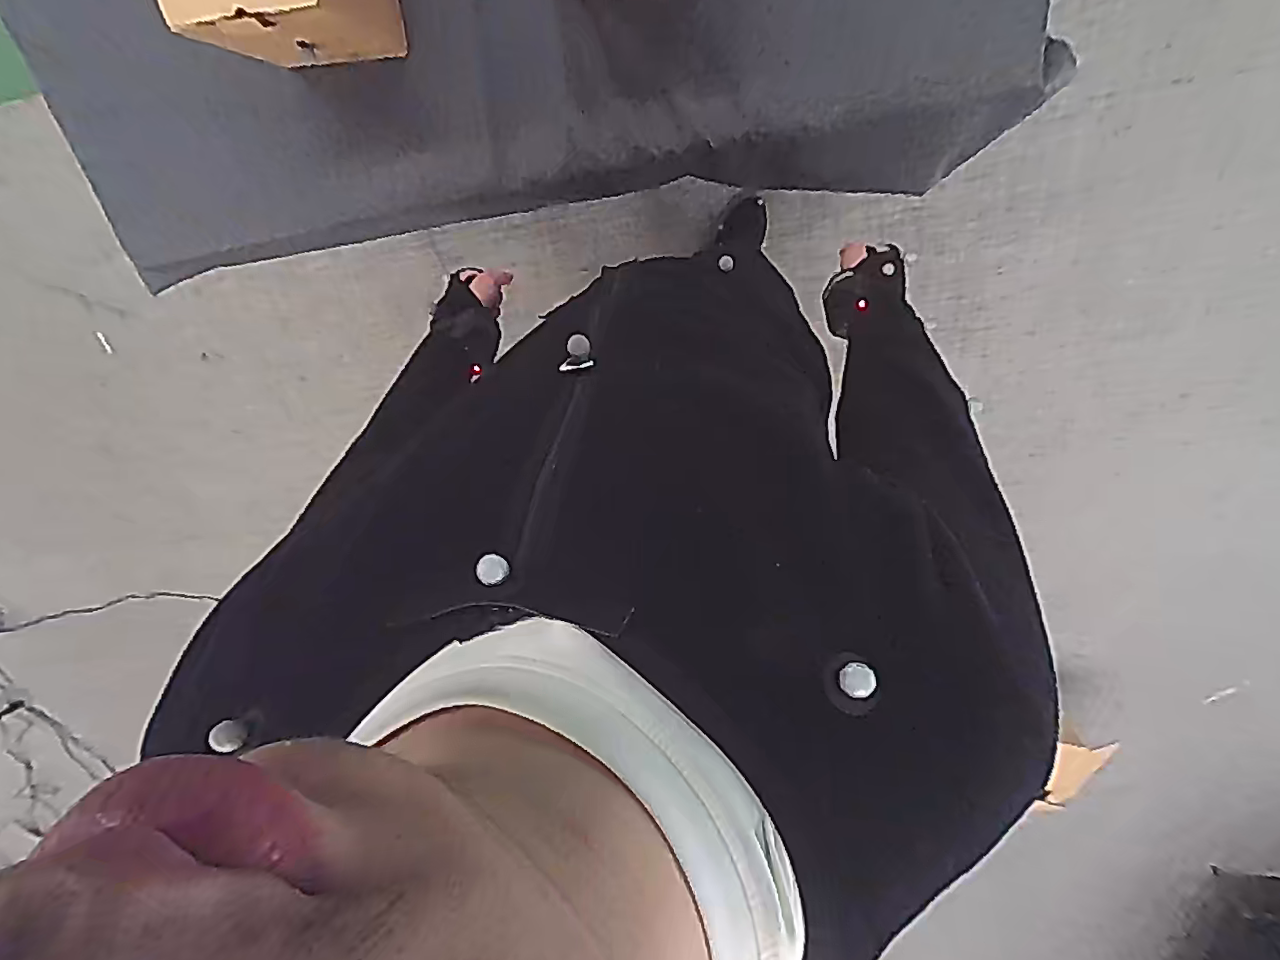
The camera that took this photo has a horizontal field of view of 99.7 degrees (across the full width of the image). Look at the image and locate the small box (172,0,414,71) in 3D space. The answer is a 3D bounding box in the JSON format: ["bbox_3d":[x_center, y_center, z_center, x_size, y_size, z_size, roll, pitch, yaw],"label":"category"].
[{"bbox_3d":[-0.363,-0.546,0.554,0.168,0.176,0.179,-2,115,10],"label":"small box"}]
